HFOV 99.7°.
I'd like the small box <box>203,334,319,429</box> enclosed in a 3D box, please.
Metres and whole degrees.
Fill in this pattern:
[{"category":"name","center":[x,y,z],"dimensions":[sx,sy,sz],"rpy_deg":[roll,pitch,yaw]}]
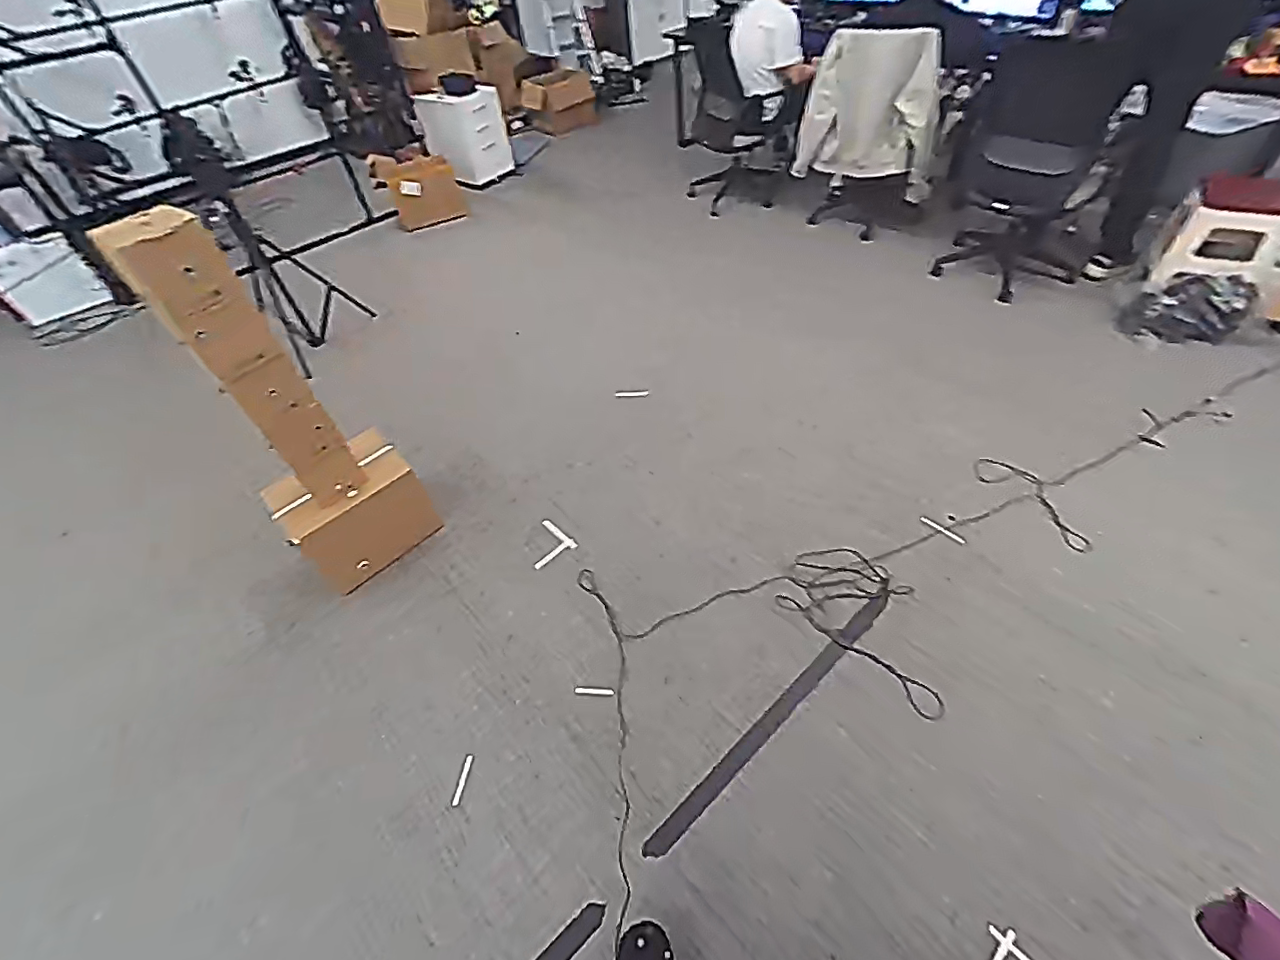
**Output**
[{"category":"small box","center":[-1.017,-0.263,1.464],"dimensions":[0.179,0.176,0.168],"rpy_deg":[29,56,28]}]

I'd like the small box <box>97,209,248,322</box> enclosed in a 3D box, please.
[{"category":"small box","center":[-1.042,-0.481,1.221],"dimensions":[0.179,0.176,0.168],"rpy_deg":[27,55,26]}]

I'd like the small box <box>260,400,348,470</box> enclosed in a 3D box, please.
[{"category":"small box","center":[-0.997,-0.152,1.585],"dimensions":[0.179,0.176,0.168],"rpy_deg":[32,58,32]}]

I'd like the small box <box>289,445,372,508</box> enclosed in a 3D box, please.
[{"category":"small box","center":[-0.989,-0.044,1.705],"dimensions":[0.168,0.176,0.179],"rpy_deg":[-39,55,-25]}]
